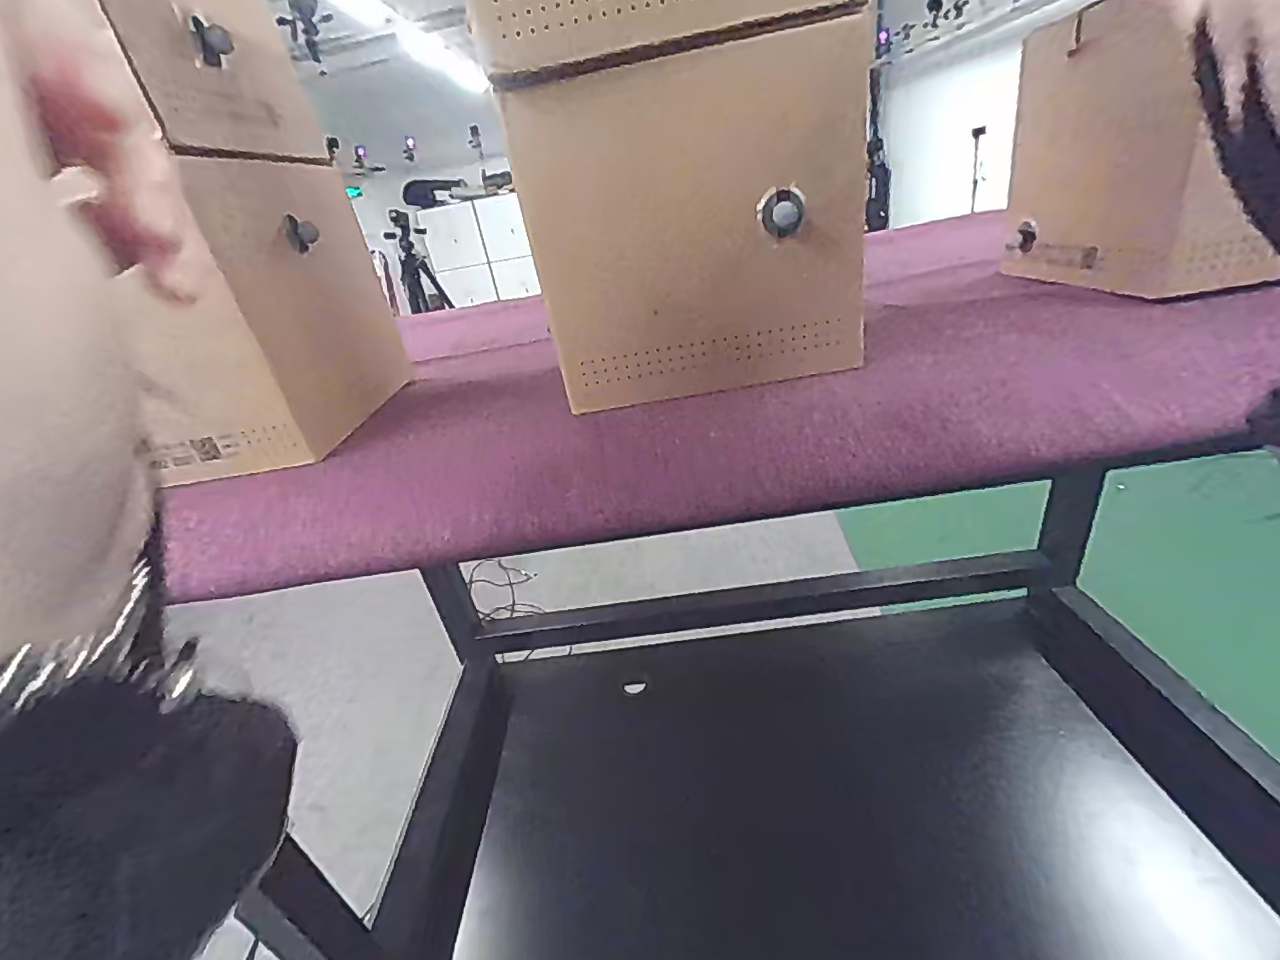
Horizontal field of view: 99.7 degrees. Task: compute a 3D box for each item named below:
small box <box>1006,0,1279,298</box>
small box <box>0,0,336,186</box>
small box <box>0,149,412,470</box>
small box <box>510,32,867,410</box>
[{"bbox_3d":[0.376,-0.225,0.358,0.179,0.176,0.168,-8,25,5],"label":"small box"},{"bbox_3d":[-0.315,-0.255,0.300,0.179,0.176,0.168,-9,28,1],"label":"small box"},{"bbox_3d":[-0.285,-0.114,0.377,0.168,0.176,0.179,-8,27,2],"label":"small box"},{"bbox_3d":[0.033,-0.161,0.364,0.179,0.176,0.168,-10,27,3],"label":"small box"}]
